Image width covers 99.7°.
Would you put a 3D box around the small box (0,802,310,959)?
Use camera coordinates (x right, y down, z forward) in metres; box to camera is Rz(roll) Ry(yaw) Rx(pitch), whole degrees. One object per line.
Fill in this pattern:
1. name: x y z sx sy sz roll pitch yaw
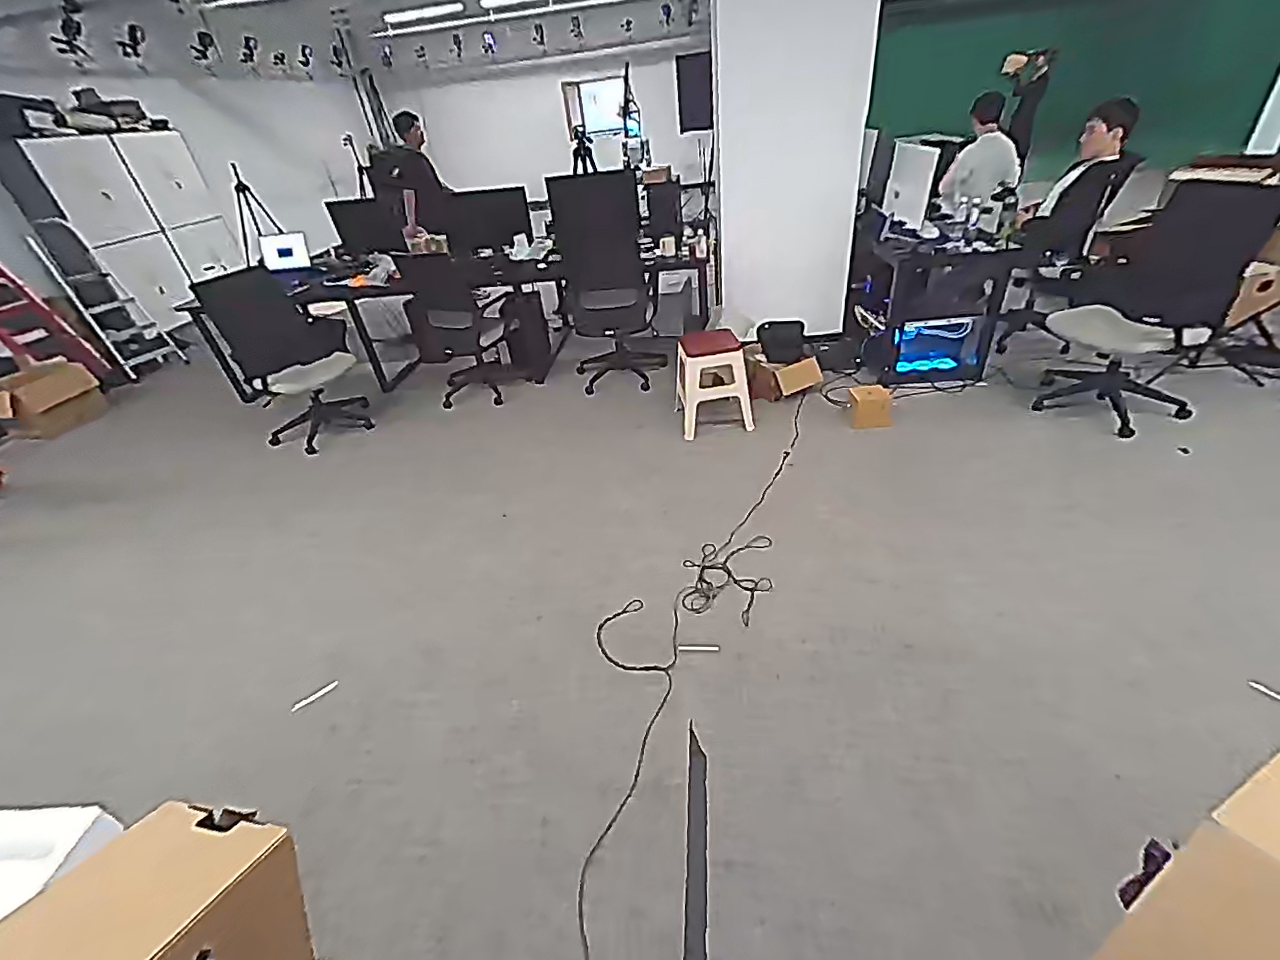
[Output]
1. small box: -0.440 0.443 0.494 0.168 0.176 0.179 1 11 15
